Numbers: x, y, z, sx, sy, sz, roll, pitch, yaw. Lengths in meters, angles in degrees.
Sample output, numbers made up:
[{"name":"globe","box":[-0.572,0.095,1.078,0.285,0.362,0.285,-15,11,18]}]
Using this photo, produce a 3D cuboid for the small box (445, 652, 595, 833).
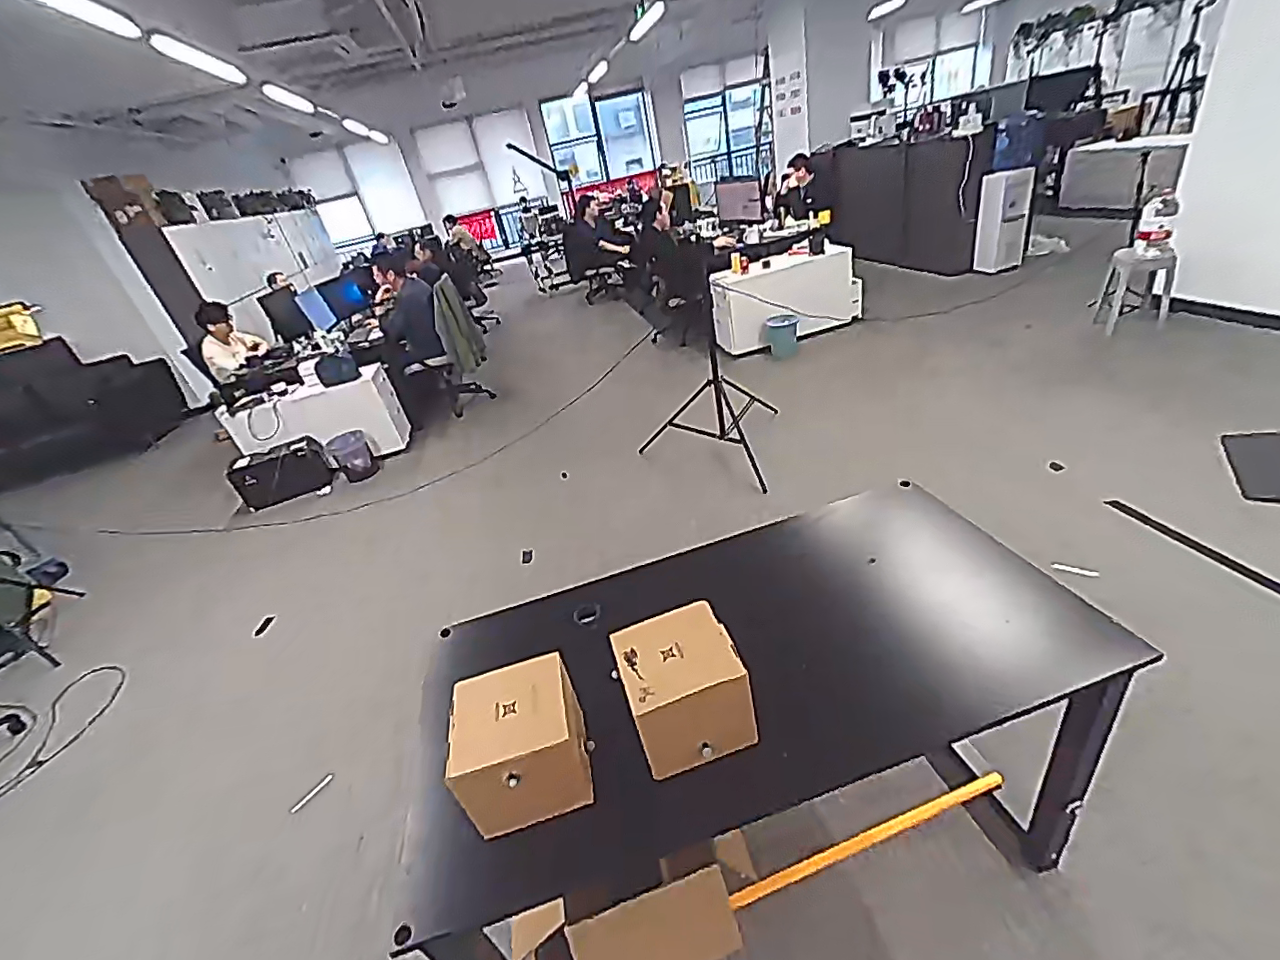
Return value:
[{"name":"small box","box":[-0.182,0.409,0.843,0.179,0.176,0.168,-16,32,-6]}]

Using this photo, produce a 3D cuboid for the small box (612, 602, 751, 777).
[{"name":"small box","box":[0.069,0.333,0.869,0.179,0.176,0.168,-17,31,-8]}]
